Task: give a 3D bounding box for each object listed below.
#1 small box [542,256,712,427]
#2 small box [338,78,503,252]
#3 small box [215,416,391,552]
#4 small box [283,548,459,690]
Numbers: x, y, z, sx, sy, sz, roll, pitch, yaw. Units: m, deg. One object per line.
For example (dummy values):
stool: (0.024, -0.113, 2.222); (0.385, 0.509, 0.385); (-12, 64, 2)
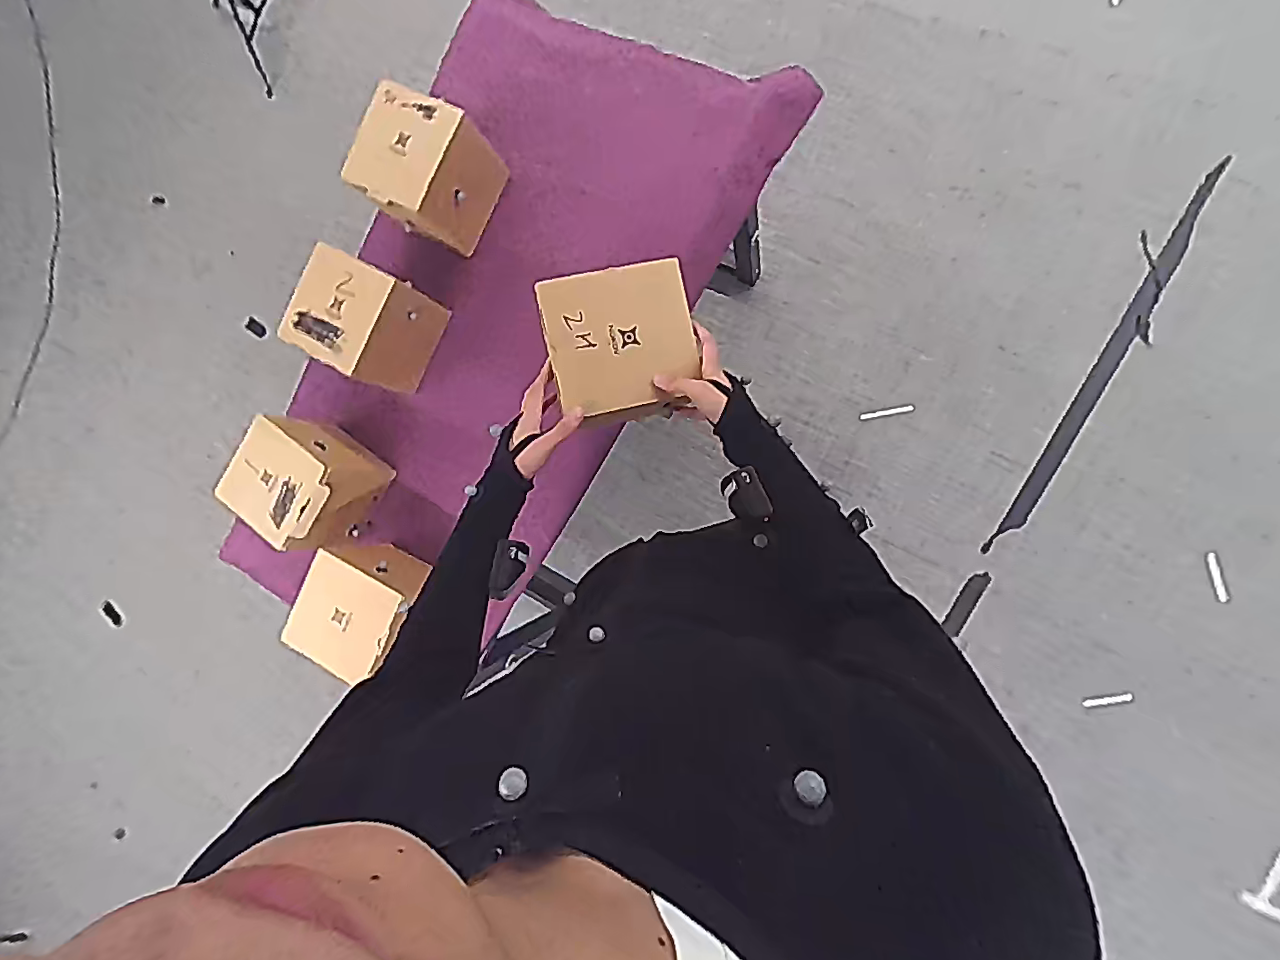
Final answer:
small box: (-0.024, -0.169, 0.706); (0.179, 0.176, 0.168); (-12, 92, -6)
small box: (-0.365, -0.526, 0.929); (0.168, 0.176, 0.179); (28, 96, 10)
small box: (-0.590, 0.006, 0.969); (0.179, 0.176, 0.168); (34, 95, 12)
small box: (-0.450, 0.224, 0.926); (0.179, 0.176, 0.168); (24, 92, 13)
